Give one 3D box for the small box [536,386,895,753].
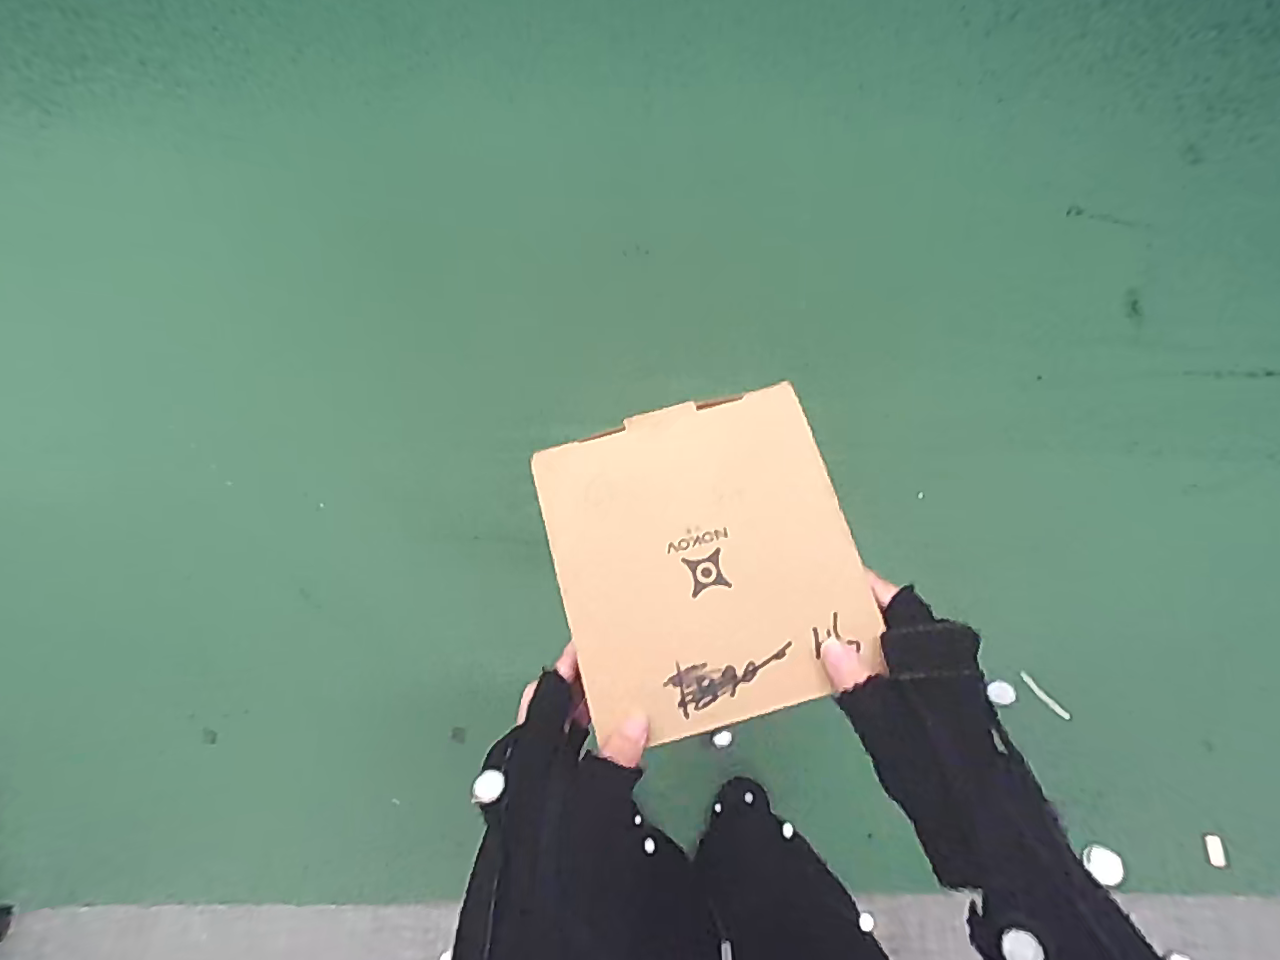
[{"bbox_3d":[0.038,0.062,0.379,0.168,0.176,0.179,-15,76,-1],"label":"small box"}]
